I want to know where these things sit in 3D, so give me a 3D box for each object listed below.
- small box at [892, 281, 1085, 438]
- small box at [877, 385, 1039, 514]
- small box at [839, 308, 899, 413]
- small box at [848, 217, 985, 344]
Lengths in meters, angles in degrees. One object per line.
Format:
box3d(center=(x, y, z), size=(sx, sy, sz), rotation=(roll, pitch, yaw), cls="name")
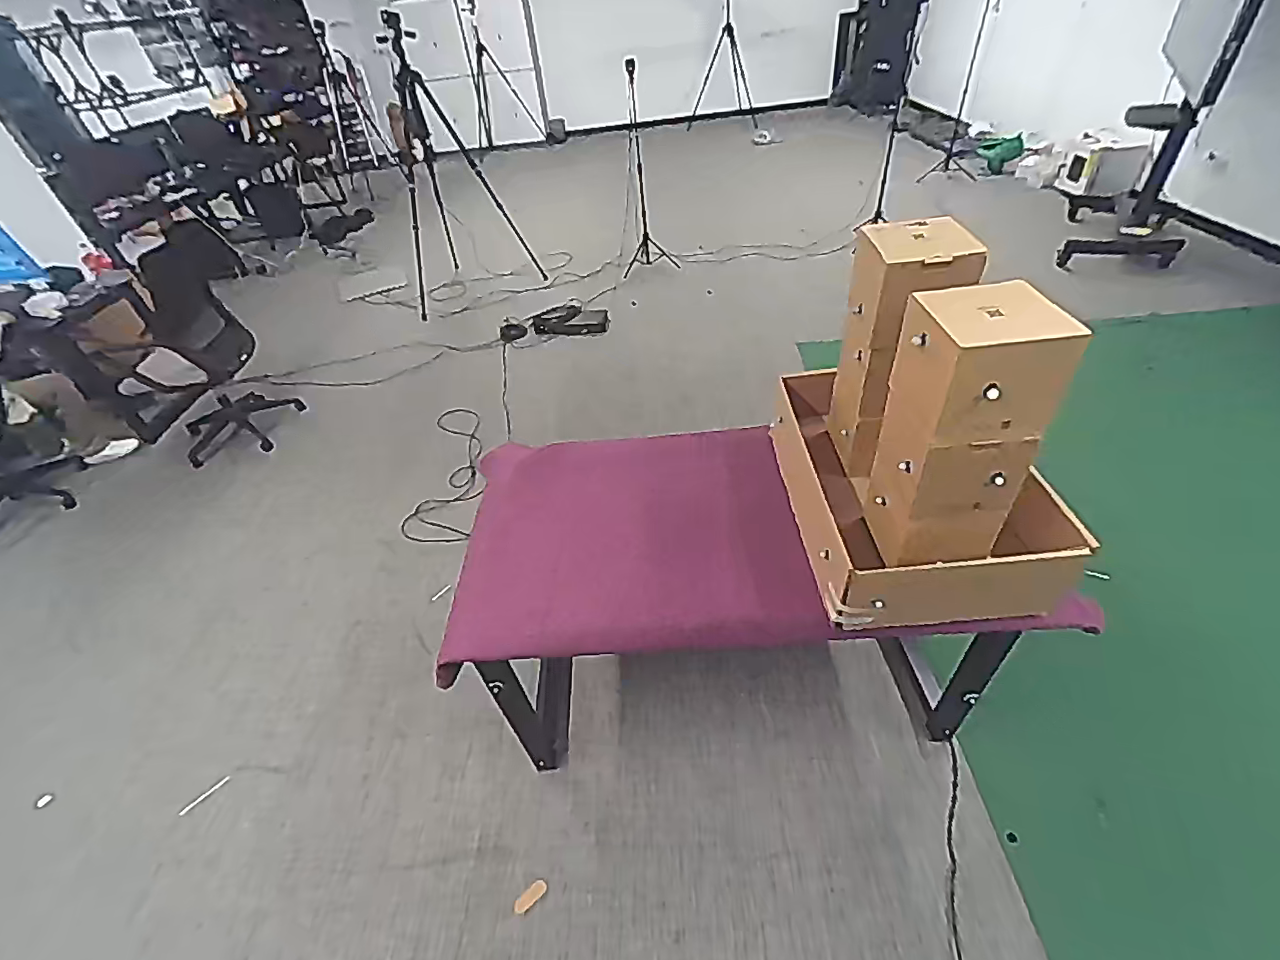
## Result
box3d(center=(0.501, -0.175, 0.811), size=(0.168, 0.176, 0.179), rotation=(-5, 41, 4), cls="small box")
box3d(center=(0.521, -0.054, 0.917), size=(0.168, 0.176, 0.179), rotation=(-5, 41, 5), cls="small box")
box3d(center=(0.525, -0.250, 1.127), size=(0.168, 0.176, 0.179), rotation=(-3, 43, 5), cls="small box")
box3d(center=(0.504, -0.367, 1.014), size=(0.168, 0.176, 0.179), rotation=(-4, 45, 5), cls="small box")
